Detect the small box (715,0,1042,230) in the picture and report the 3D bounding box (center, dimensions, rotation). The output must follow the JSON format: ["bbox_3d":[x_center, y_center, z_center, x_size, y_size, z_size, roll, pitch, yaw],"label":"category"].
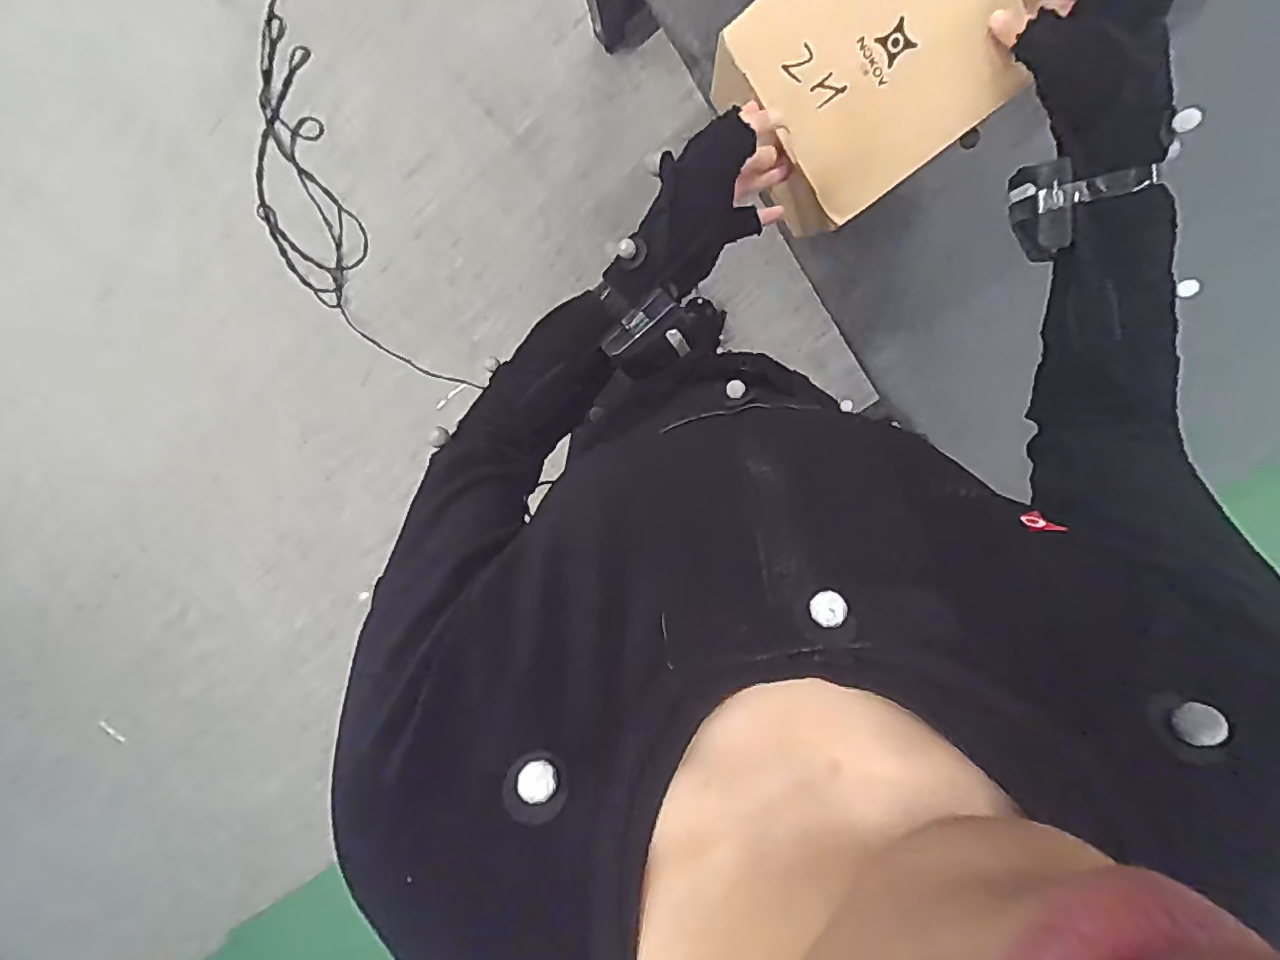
[{"bbox_3d":[0.179,-0.342,0.464,0.179,0.176,0.168,-34,105,16],"label":"small box"}]
